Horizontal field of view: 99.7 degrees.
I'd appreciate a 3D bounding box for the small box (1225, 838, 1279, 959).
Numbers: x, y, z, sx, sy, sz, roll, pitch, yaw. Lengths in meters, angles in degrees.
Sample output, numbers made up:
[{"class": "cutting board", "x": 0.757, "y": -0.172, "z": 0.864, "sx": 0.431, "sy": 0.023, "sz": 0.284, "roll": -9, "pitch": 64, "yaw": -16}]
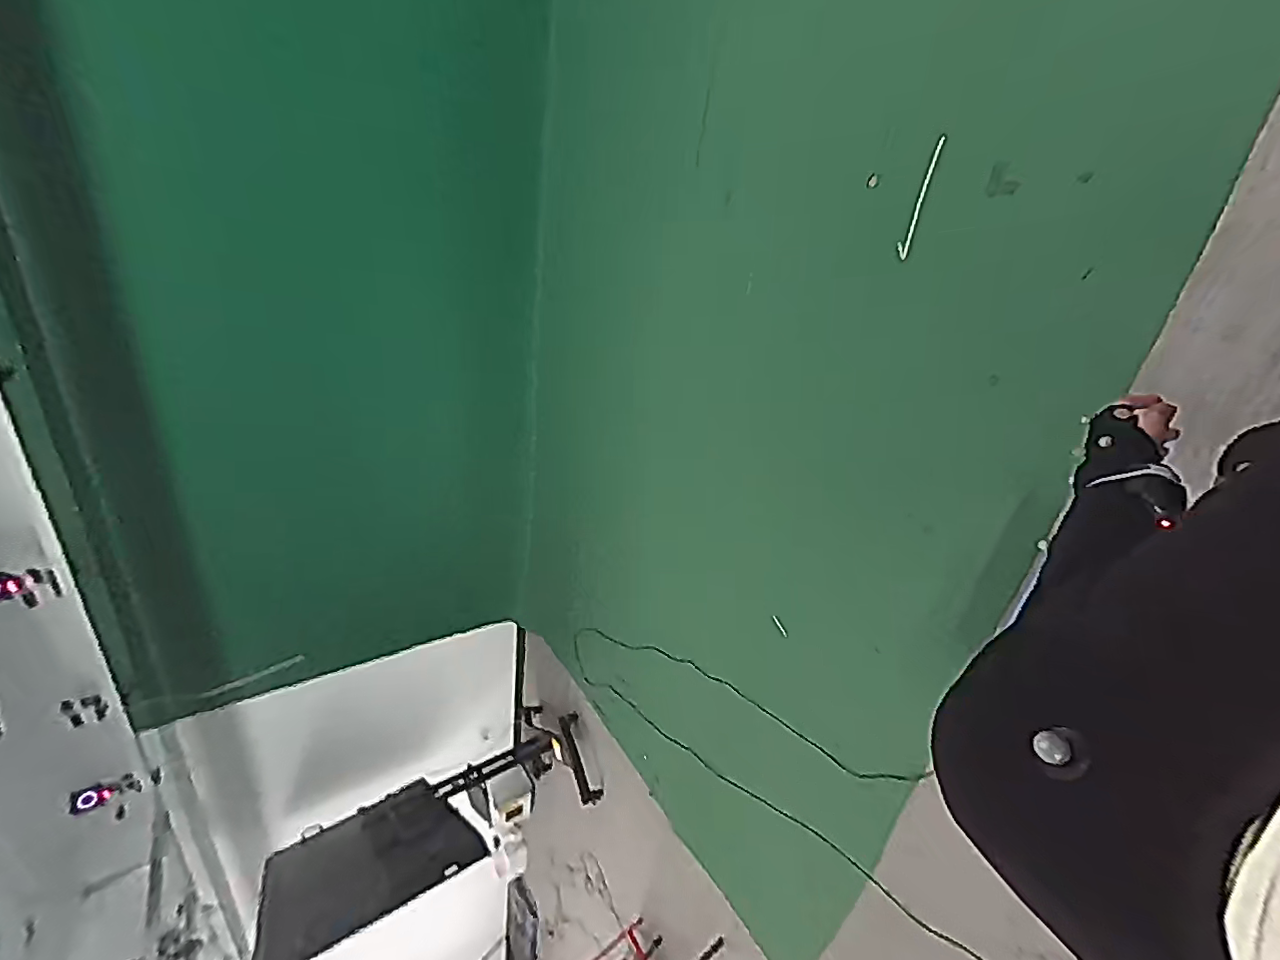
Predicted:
[{"class": "small box", "x": 1.222, "y": 0.778, "z": 0.969, "sx": 0.168, "sy": 0.176, "sz": 0.179, "roll": 39, "pitch": 130, "yaw": 43}]
